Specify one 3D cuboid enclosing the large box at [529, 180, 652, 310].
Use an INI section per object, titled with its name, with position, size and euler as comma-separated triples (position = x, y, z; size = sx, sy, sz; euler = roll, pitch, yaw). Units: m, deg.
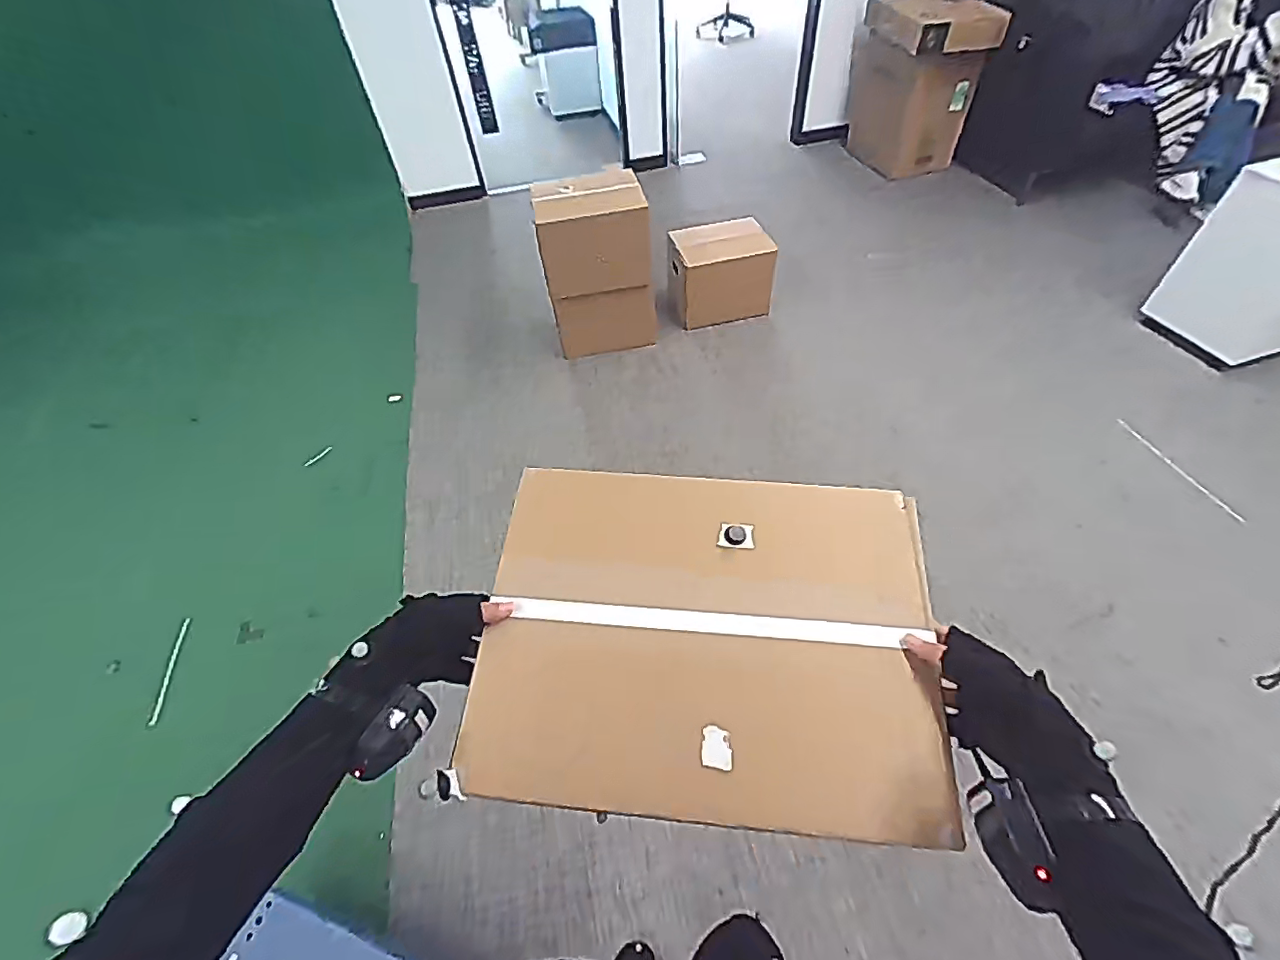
[large box]
position = -0.184, -0.905, 2.089
size = 0.408, 0.320, 0.320
euler = -12, 52, -4
